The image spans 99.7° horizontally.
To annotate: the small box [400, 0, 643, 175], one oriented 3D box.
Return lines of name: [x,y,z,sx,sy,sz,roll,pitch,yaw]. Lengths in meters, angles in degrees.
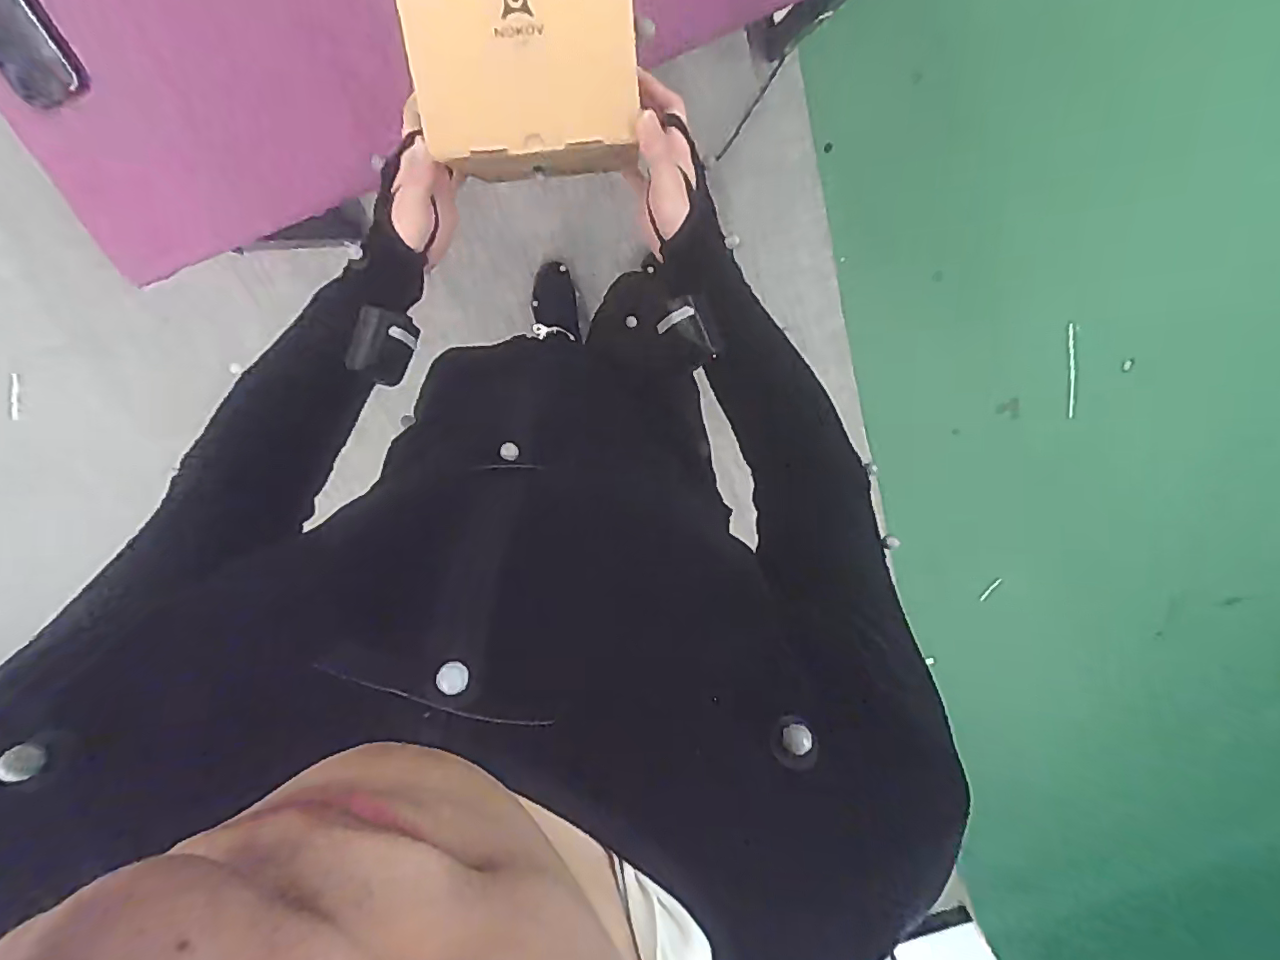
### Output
small box: [-0.089,-0.369,0.453,0.168,0.176,0.179,-6,115,1]
